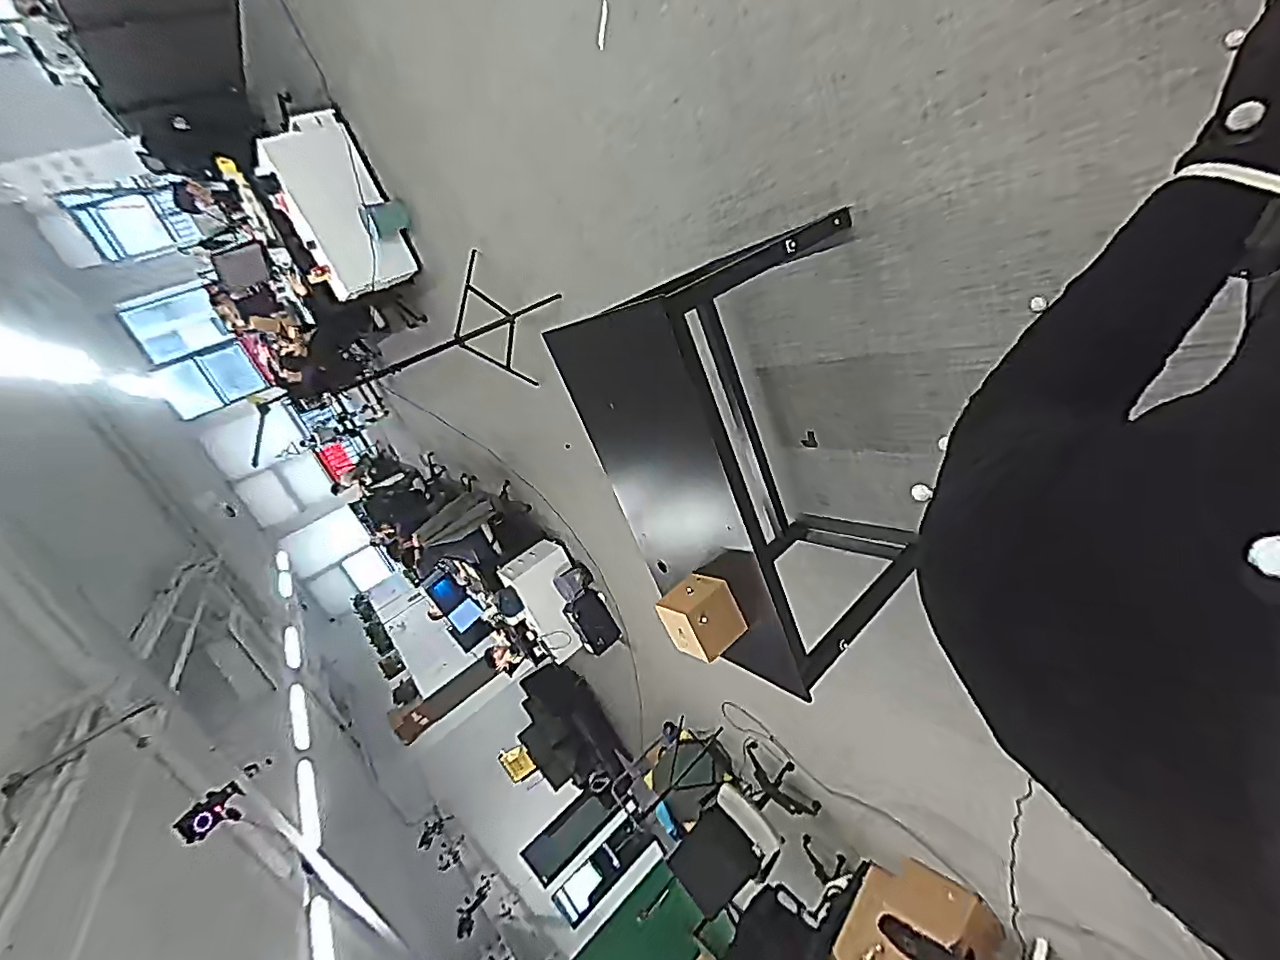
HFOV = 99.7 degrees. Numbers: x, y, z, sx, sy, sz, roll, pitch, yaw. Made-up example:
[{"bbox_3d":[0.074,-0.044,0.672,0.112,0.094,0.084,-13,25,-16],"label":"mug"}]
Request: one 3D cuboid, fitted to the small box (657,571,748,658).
[{"bbox_3d":[0.189,0.394,1.622,0.168,0.176,0.179,-1,120,60],"label":"small box"}]
